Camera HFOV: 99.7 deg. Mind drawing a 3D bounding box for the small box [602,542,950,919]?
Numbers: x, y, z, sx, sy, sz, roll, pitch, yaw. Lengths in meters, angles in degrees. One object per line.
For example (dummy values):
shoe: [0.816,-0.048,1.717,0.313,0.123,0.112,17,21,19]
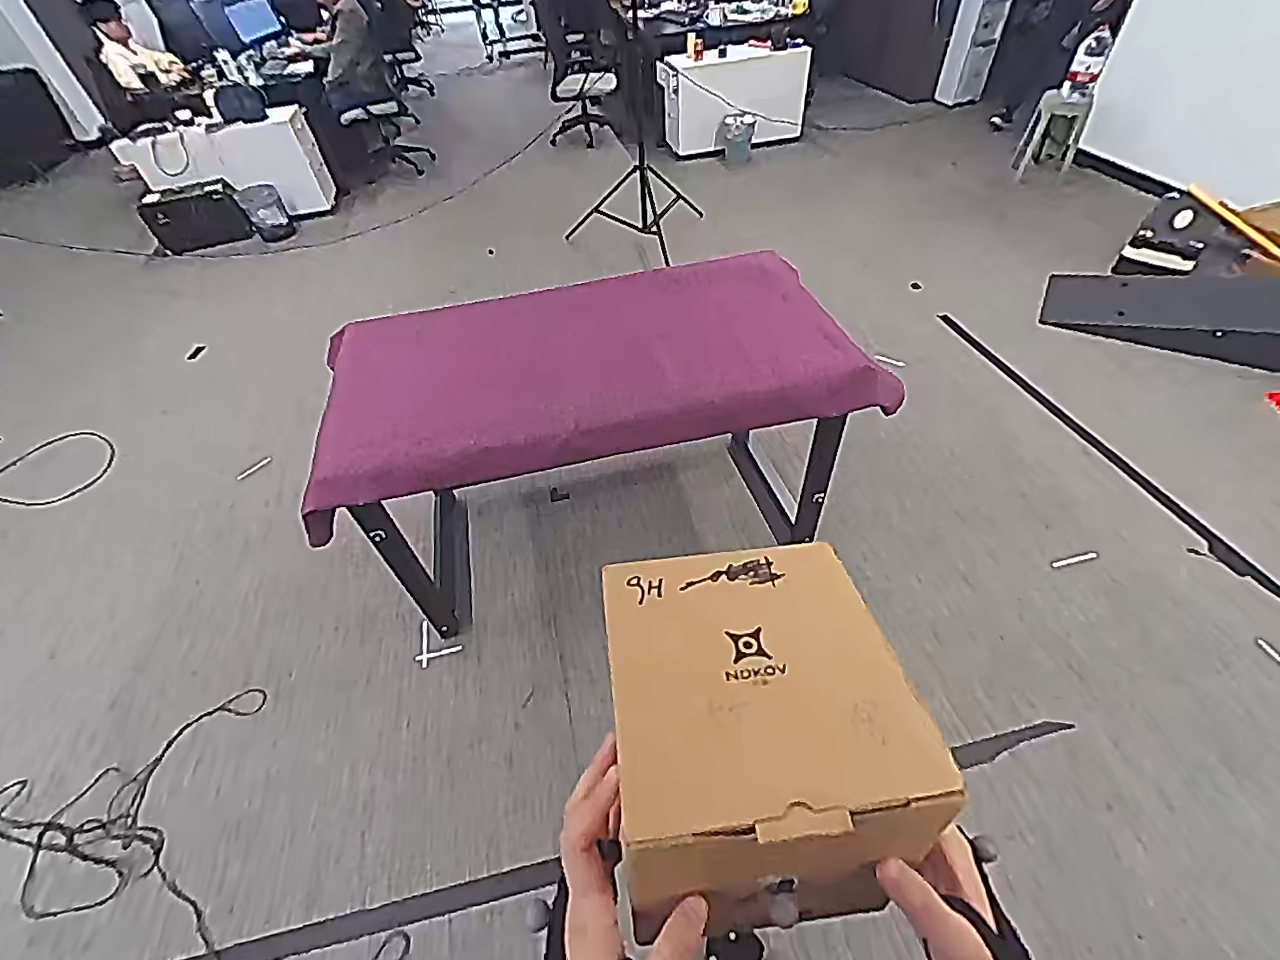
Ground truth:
small box: [0.065,0.169,0.369,0.168,0.176,0.179,-5,38,-4]
